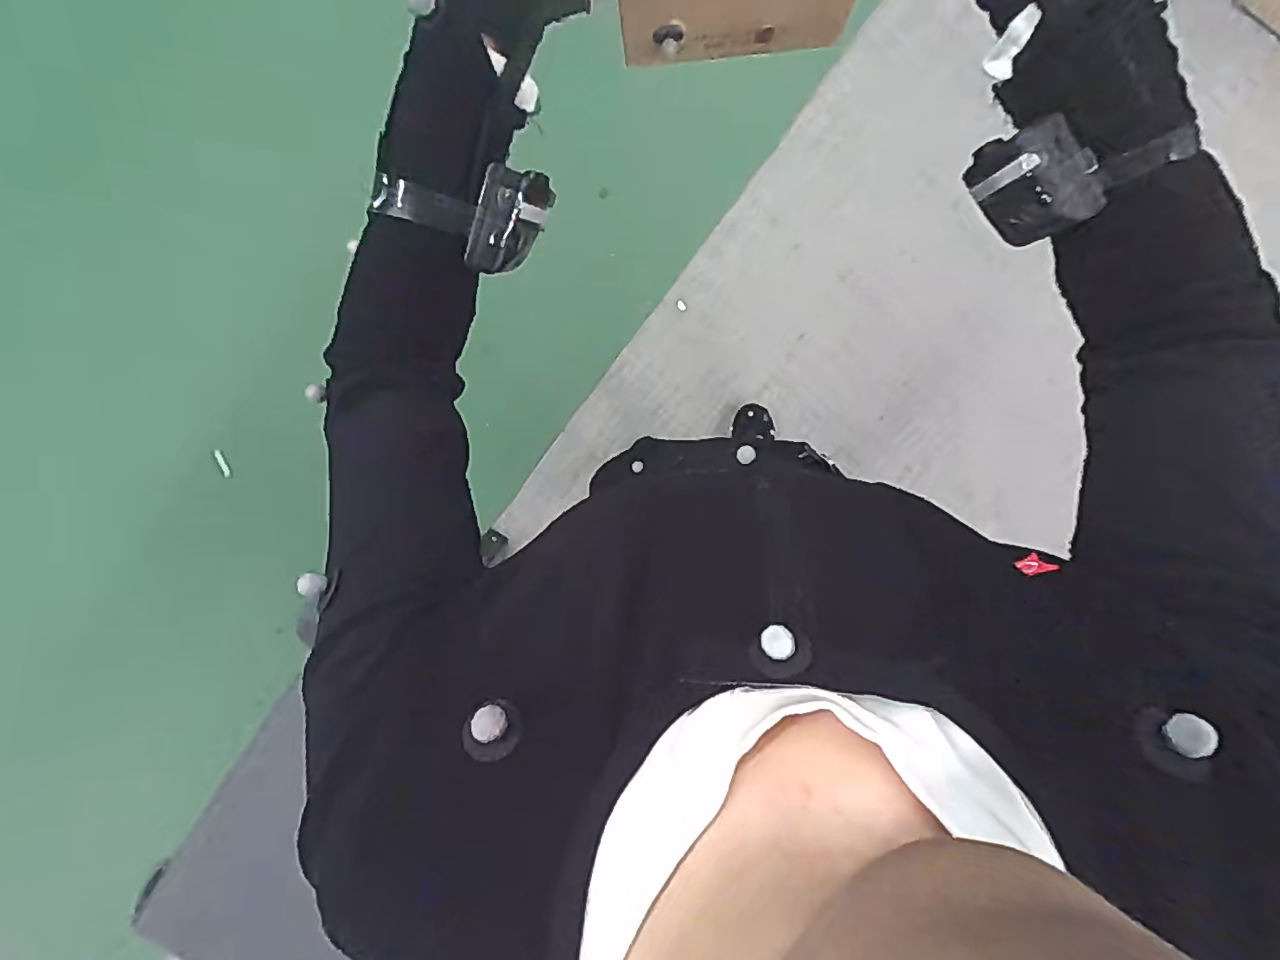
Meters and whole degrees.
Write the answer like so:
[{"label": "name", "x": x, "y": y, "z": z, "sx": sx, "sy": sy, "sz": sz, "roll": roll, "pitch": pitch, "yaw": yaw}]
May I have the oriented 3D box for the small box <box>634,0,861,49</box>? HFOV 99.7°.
[{"label": "small box", "x": 0.073, "y": -0.412, "z": 0.338, "sx": 0.168, "sy": 0.176, "sz": 0.179, "roll": -3, "pitch": 92, "yaw": 3}]
